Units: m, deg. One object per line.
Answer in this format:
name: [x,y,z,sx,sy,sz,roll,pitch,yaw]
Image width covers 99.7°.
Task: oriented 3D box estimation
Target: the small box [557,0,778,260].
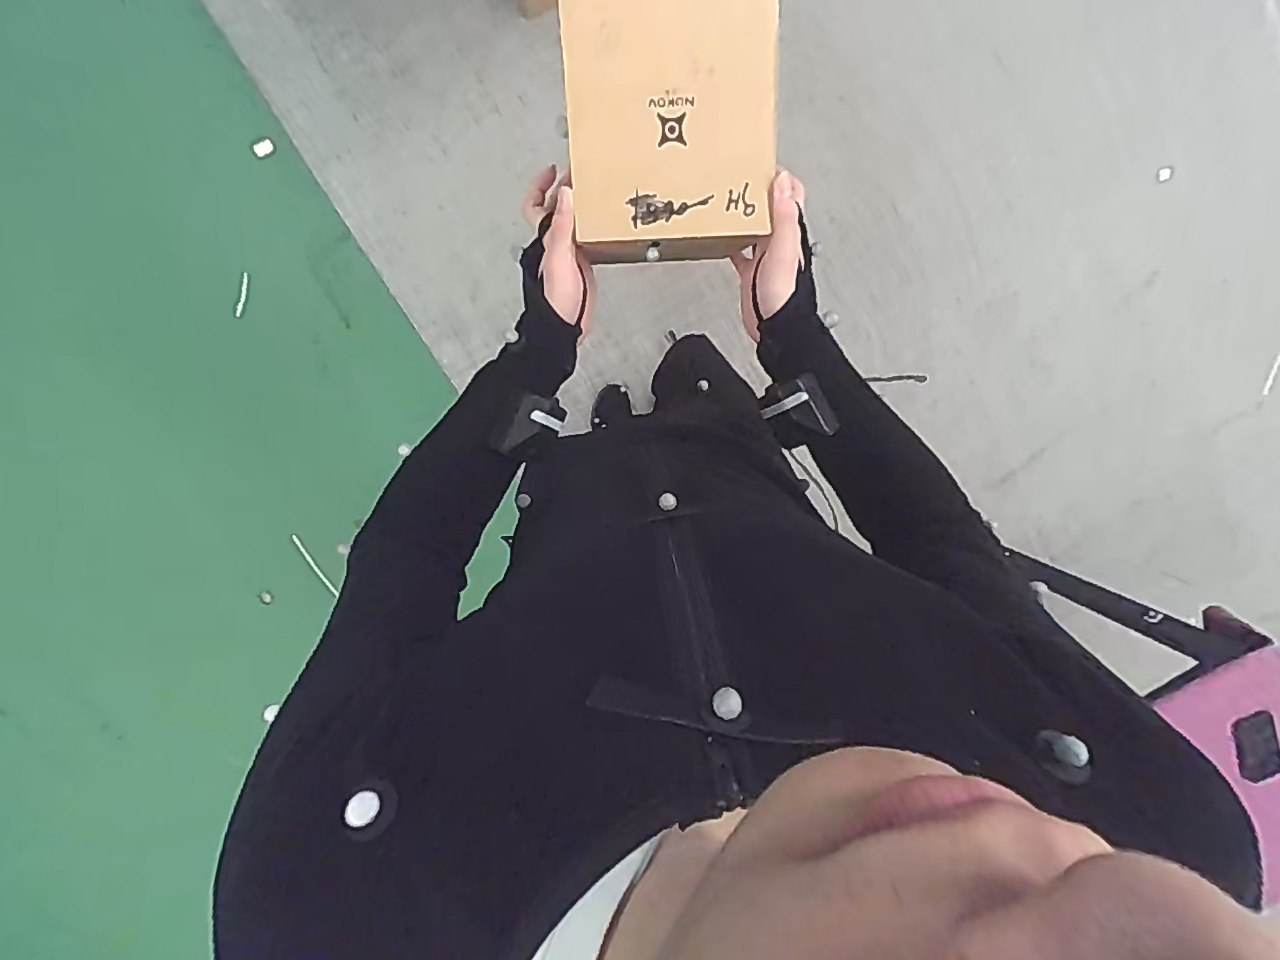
small box: [0.016,-0.304,0.485,0.168,0.176,0.179,-3,106,-3]
